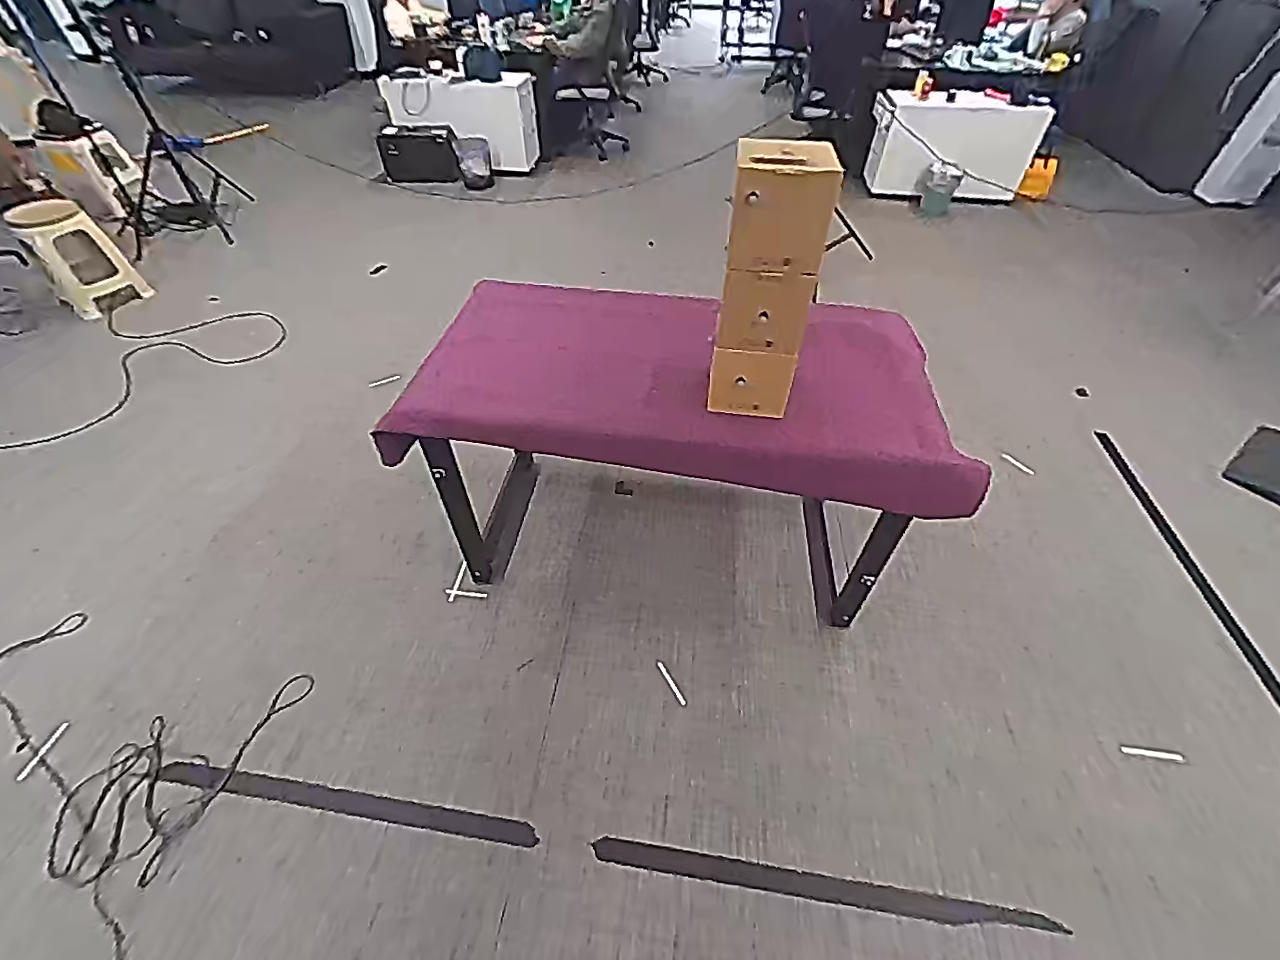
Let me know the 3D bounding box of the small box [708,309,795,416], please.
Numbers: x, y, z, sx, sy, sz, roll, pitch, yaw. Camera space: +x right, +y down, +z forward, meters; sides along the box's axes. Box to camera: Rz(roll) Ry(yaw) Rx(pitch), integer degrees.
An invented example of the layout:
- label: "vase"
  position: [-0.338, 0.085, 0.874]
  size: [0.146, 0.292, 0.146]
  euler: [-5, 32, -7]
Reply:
- label: "small box"
  position: [0.243, -0.260, 1.204]
  size: [0.168, 0.176, 0.179]
  euler: [6, 46, 5]

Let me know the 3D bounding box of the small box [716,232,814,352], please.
- label: "small box"
  position: [0.246, -0.376, 1.088]
  size: [0.168, 0.176, 0.179]
  euler: [6, 47, 6]
